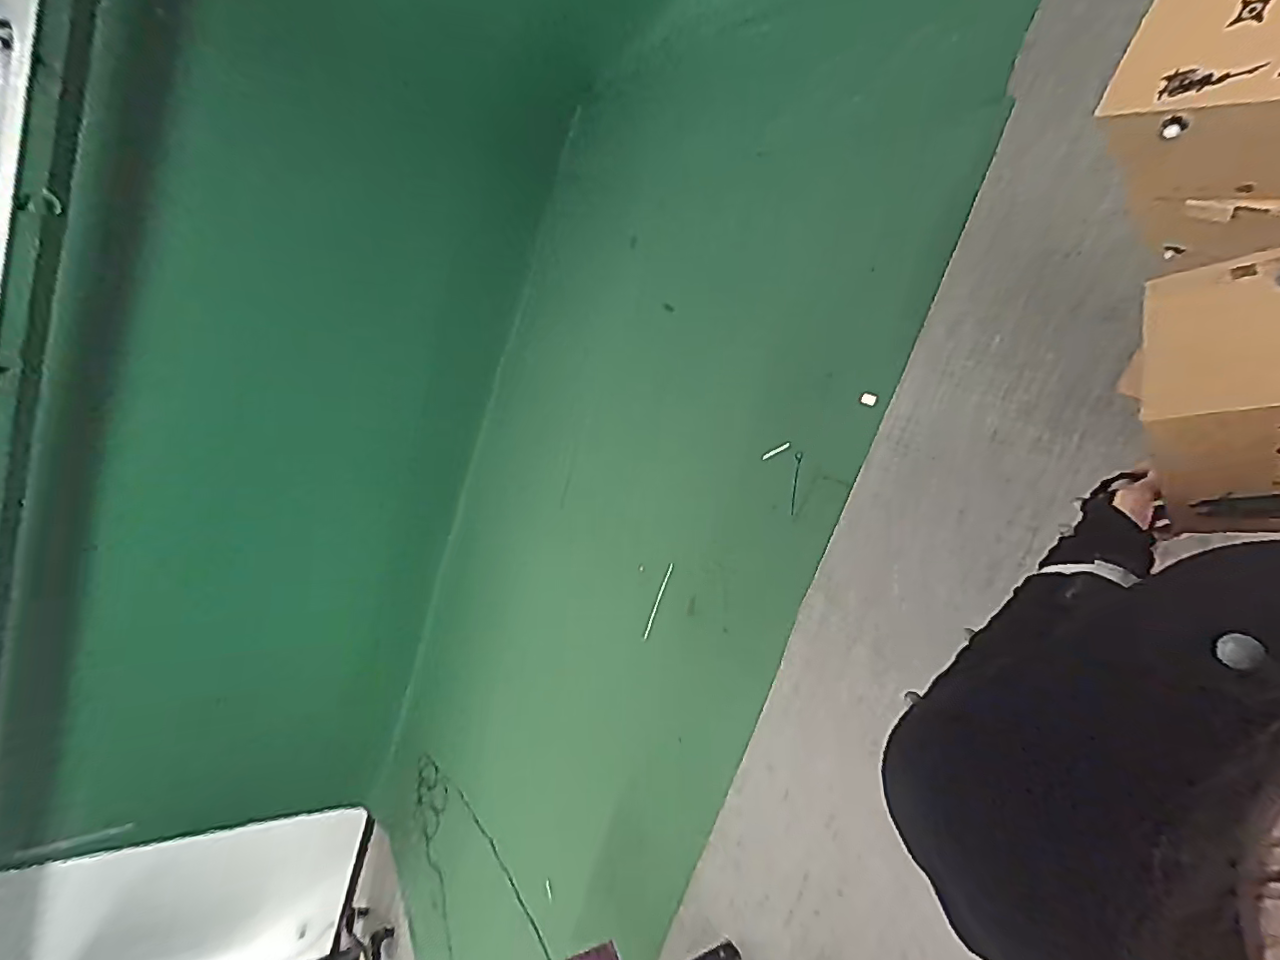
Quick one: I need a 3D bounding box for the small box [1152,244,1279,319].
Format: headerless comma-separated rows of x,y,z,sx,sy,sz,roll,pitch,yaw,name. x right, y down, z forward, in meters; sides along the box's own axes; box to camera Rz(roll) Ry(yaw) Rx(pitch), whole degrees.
0.846,-0.328,0.713,0.179,0.176,0.168,46,116,46,small box

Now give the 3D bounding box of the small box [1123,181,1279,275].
0.718,-0.359,0.615,0.168,0.176,0.179,48,116,46,small box

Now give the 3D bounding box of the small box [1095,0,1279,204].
0.592,-0.395,0.515,0.168,0.176,0.179,40,110,49,small box
